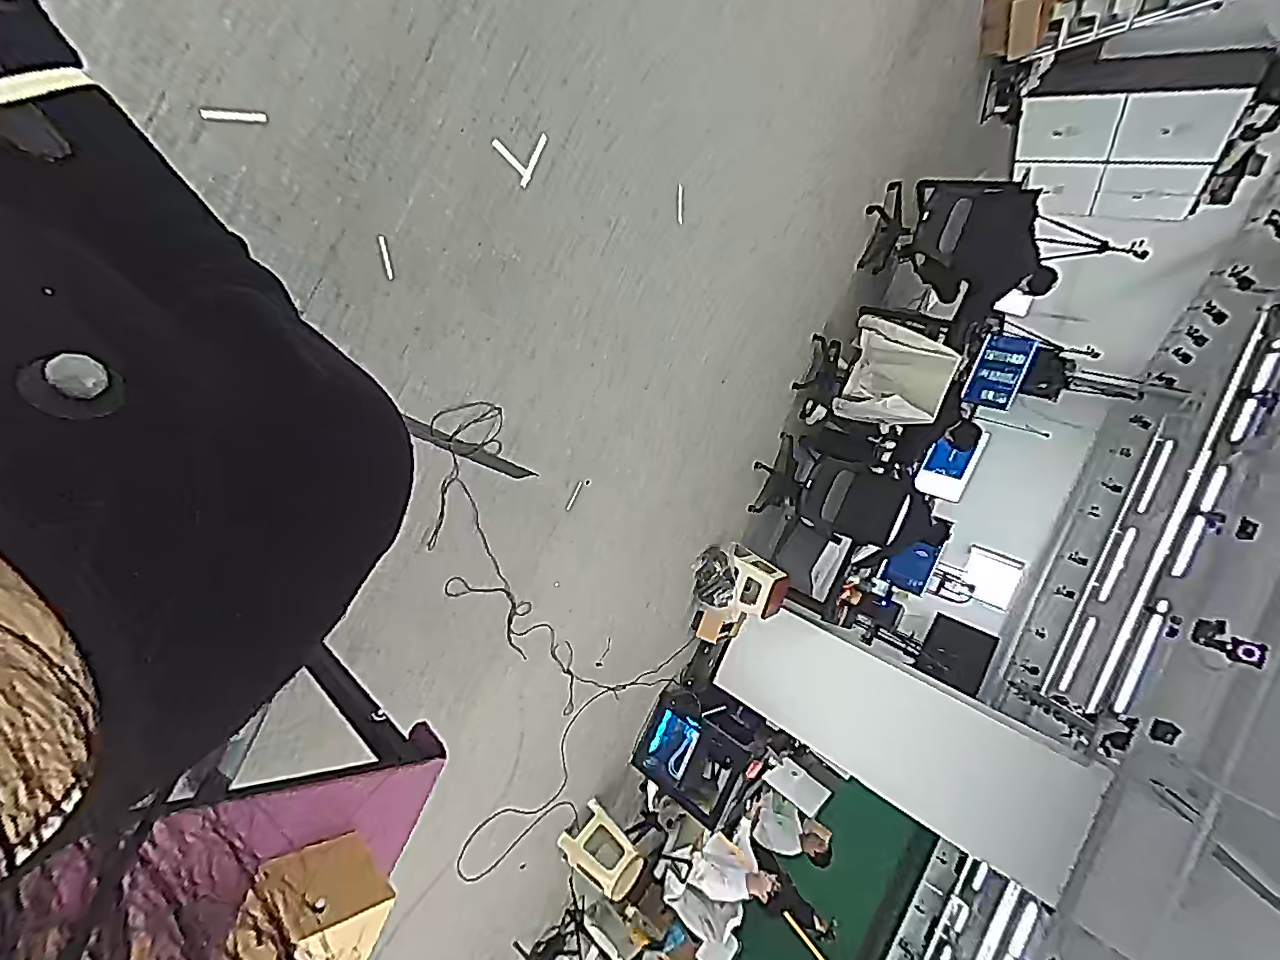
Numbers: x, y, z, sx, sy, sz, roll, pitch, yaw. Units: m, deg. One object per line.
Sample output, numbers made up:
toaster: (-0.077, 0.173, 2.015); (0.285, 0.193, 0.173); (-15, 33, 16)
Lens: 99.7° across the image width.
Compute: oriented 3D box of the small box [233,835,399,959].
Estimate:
small box: (-0.574, 0.780, 0.956); (0.179, 0.176, 0.168); (24, 92, -57)
